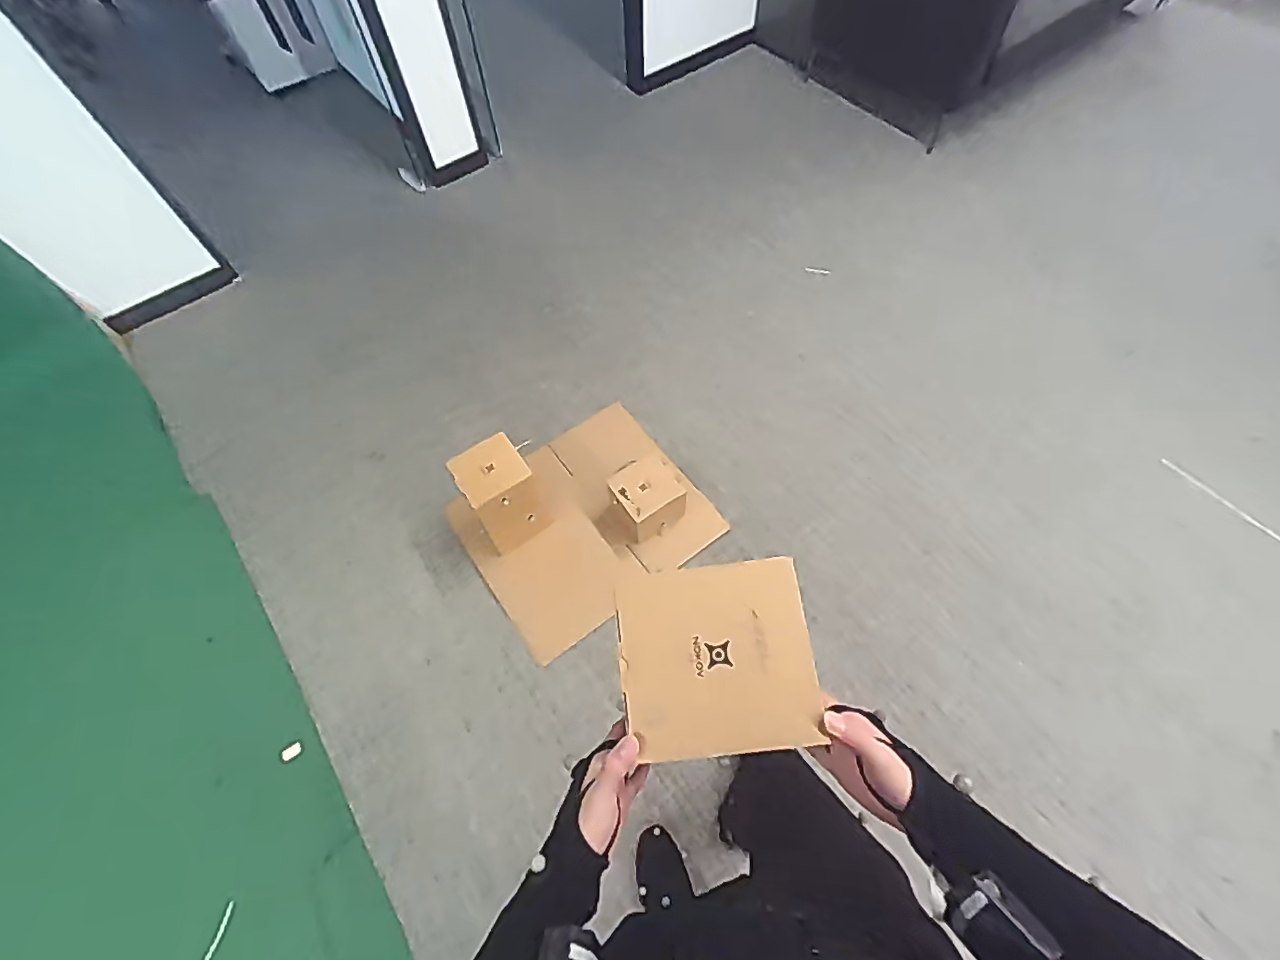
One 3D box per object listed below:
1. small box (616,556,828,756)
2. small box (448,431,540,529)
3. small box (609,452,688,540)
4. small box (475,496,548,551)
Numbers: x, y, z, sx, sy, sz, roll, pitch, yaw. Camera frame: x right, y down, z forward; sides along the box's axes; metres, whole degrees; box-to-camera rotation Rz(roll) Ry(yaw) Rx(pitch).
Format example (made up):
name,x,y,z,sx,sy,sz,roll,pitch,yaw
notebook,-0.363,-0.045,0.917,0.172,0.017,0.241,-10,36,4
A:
name,x,y,z,sx,sy,sz,roll,pitch,yaw
small box,0.077,0.185,0.568,0.179,0.176,0.168,-7,70,3
small box,-0.388,0.005,1.473,0.179,0.176,0.168,-33,67,-14
small box,0.023,0.052,1.625,0.179,0.176,0.168,-31,66,-14
small box,-0.390,0.083,1.615,0.179,0.176,0.168,-33,66,-14
